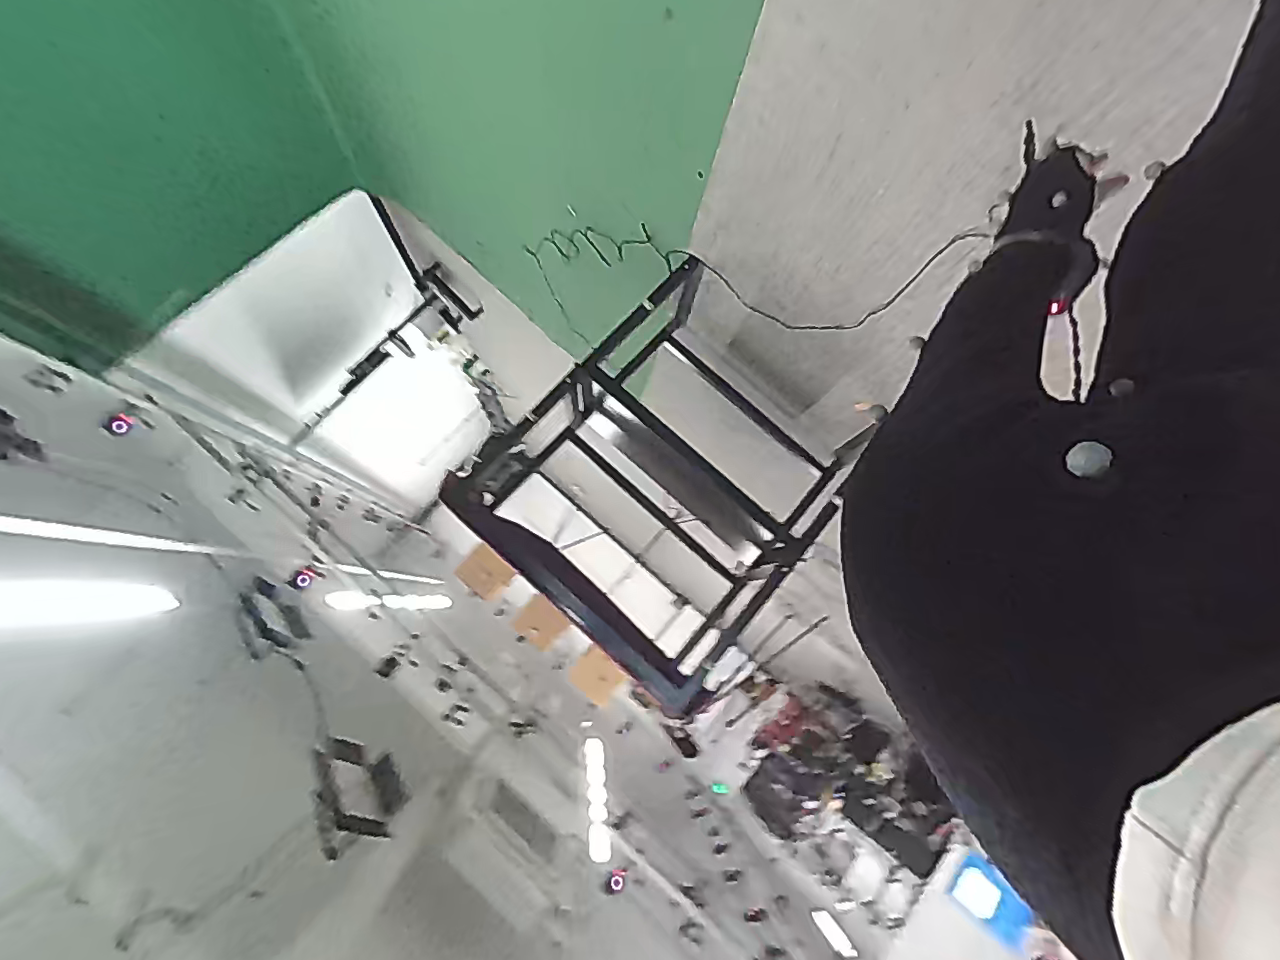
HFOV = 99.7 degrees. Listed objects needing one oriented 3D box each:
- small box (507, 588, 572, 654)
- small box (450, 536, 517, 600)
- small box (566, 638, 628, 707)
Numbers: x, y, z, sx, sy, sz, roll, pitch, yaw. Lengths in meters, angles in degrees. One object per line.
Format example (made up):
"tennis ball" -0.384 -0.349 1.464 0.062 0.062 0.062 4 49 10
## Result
"small box" -0.370 0.530 2.047 0.179 0.176 0.168 41 167 7
"small box" -0.585 0.338 2.060 0.179 0.176 0.168 40 165 4
"small box" -0.162 0.715 2.030 0.168 0.176 0.179 42 168 1
